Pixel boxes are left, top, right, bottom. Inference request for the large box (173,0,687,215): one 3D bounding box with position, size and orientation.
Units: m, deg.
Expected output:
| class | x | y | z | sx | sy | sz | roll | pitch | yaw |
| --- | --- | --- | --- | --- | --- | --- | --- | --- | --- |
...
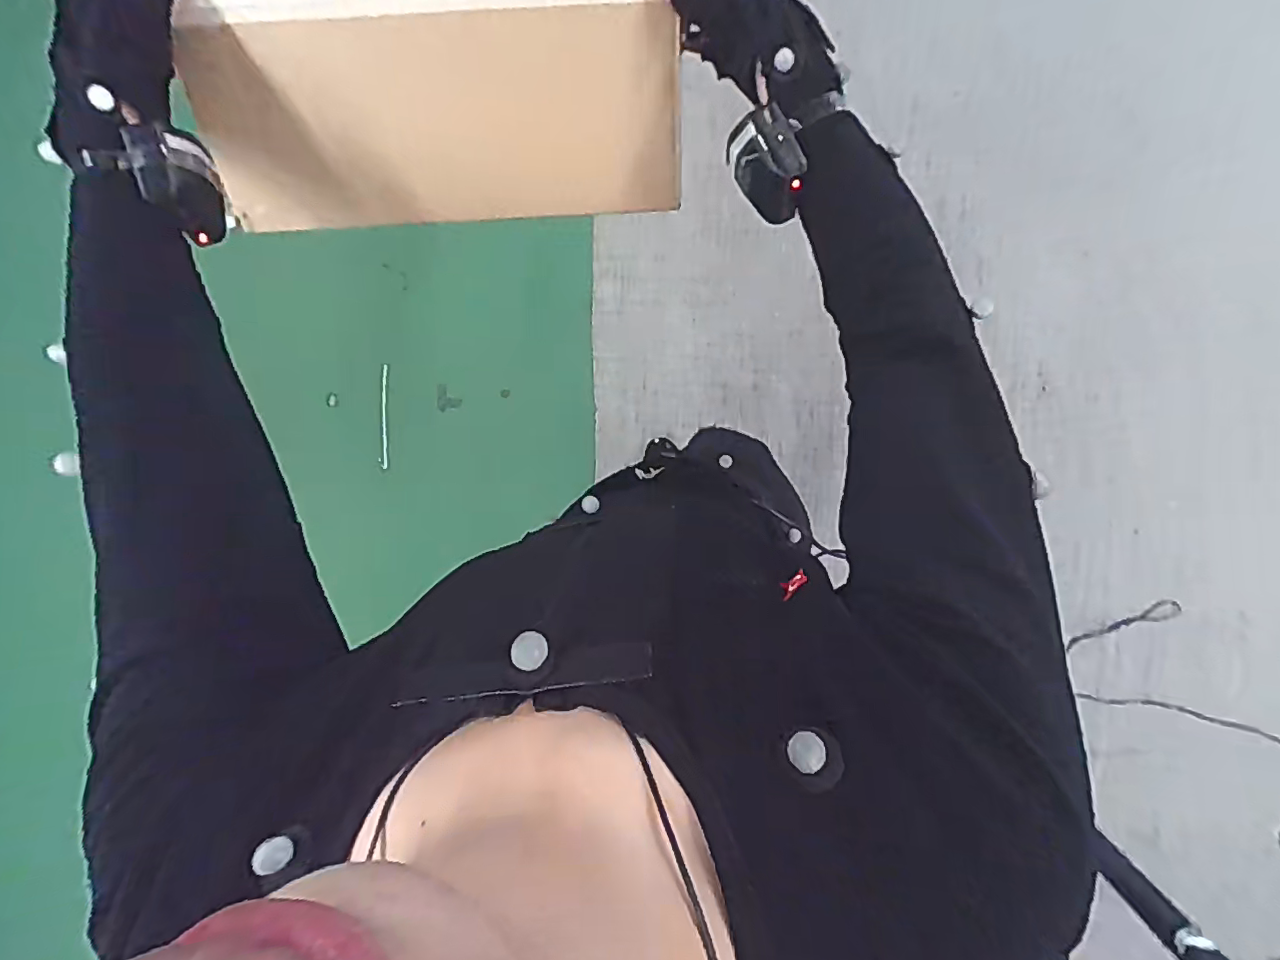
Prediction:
| class | x | y | z | sx | sy | sz | roll | pitch | yaw |
| --- | --- | --- | --- | --- | --- | --- | --- | --- | --- |
| large box | -0.166 | -0.466 | 0.540 | 0.408 | 0.320 | 0.320 | -3 | 123 | -1 |
